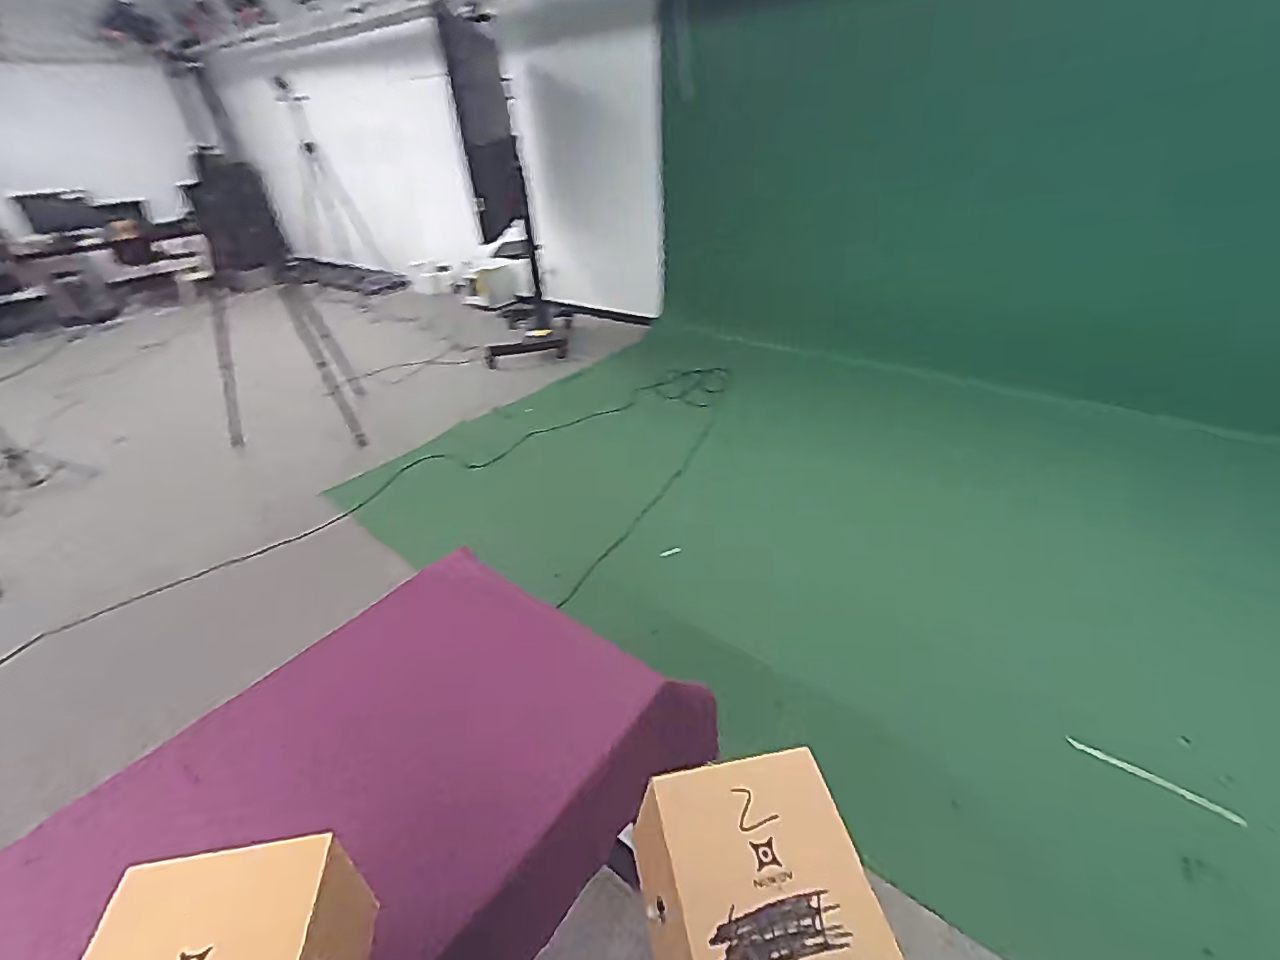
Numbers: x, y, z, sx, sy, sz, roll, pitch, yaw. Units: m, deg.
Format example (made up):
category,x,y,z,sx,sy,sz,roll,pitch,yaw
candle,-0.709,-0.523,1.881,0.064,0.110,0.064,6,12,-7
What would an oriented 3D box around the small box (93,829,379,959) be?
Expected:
category,x,y,z,sx,sy,sz,roll,pitch,yaw
small box,-0.339,0.437,0.459,0.168,0.176,0.179,-3,36,-8
